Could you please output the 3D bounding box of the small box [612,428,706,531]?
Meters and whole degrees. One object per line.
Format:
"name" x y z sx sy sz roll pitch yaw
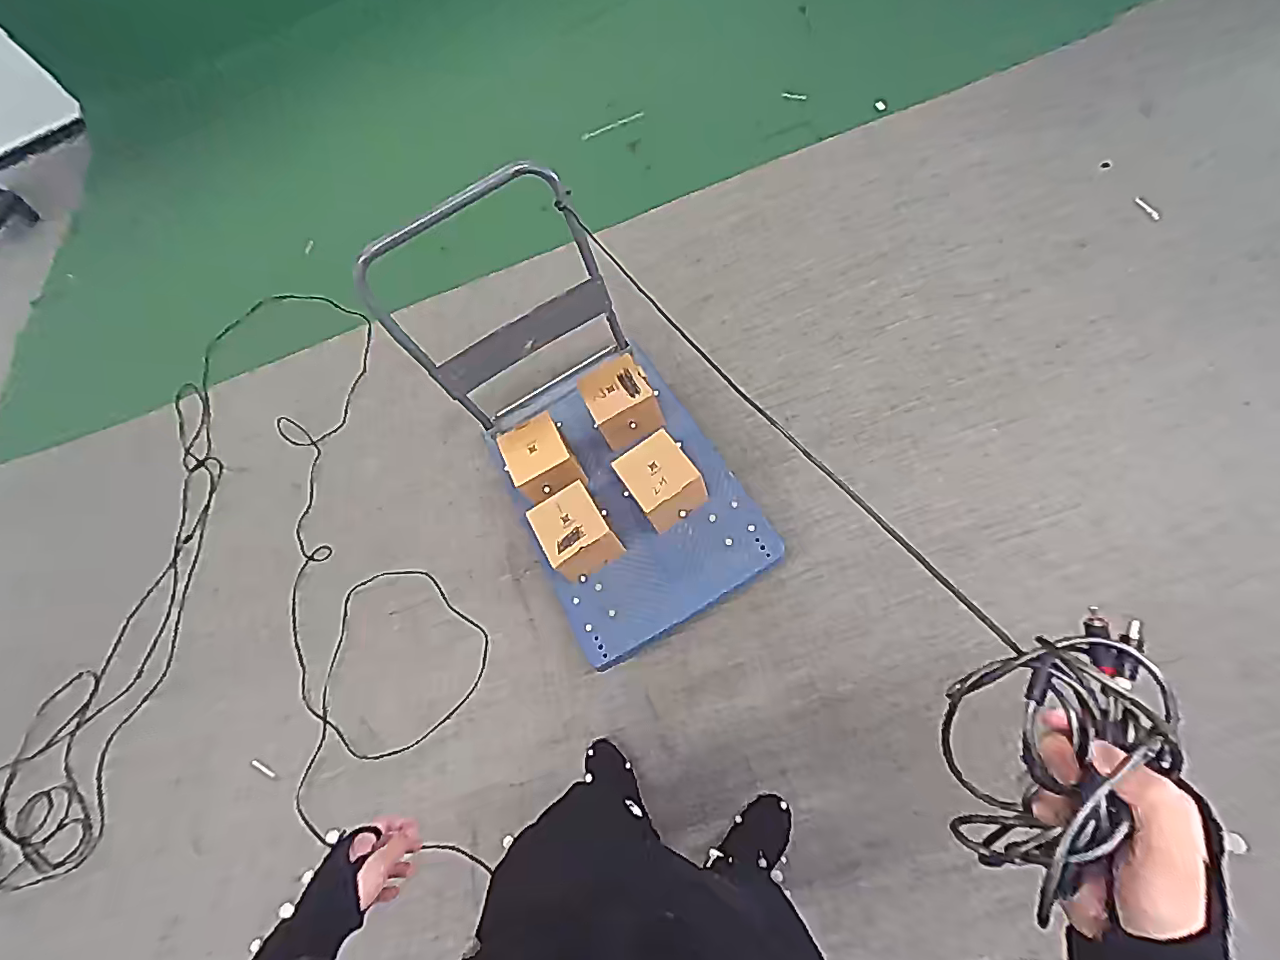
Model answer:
"small box" 0.054 0.005 1.408 0.168 0.176 0.179 -34 62 -3

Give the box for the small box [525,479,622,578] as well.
"small box" -0.165 0.135 1.400 0.168 0.176 0.179 -32 61 -3

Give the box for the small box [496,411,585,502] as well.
"small box" -0.273 -0.056 1.518 0.168 0.176 0.179 -29 62 -1
